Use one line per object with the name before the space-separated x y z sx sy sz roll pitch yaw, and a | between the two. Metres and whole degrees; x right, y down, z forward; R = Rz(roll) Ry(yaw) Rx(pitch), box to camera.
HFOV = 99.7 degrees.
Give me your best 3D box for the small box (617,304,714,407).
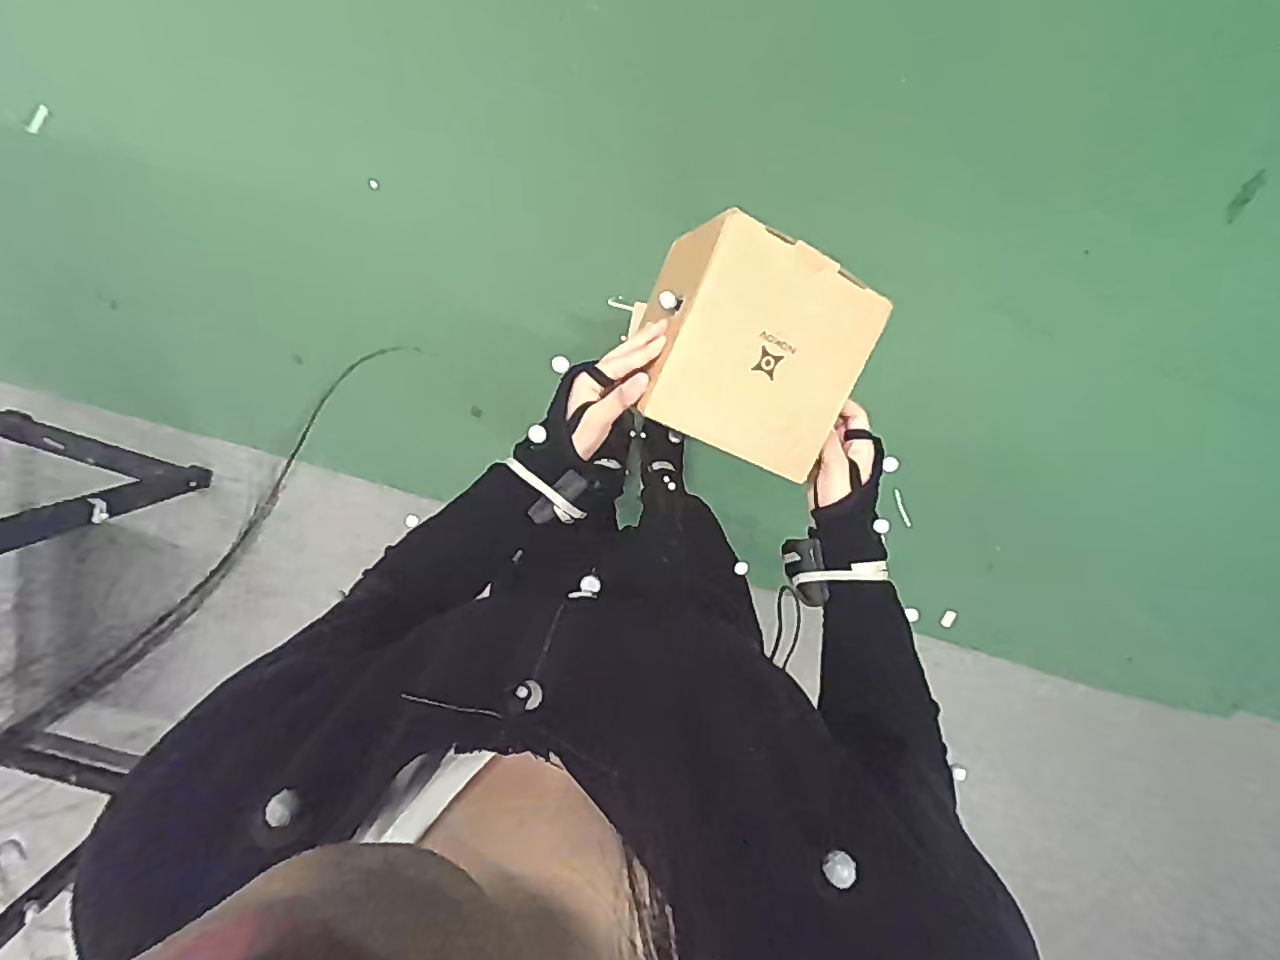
small box | 0.053 -0.267 1.170 0.168 0.176 0.179 13 104 0
